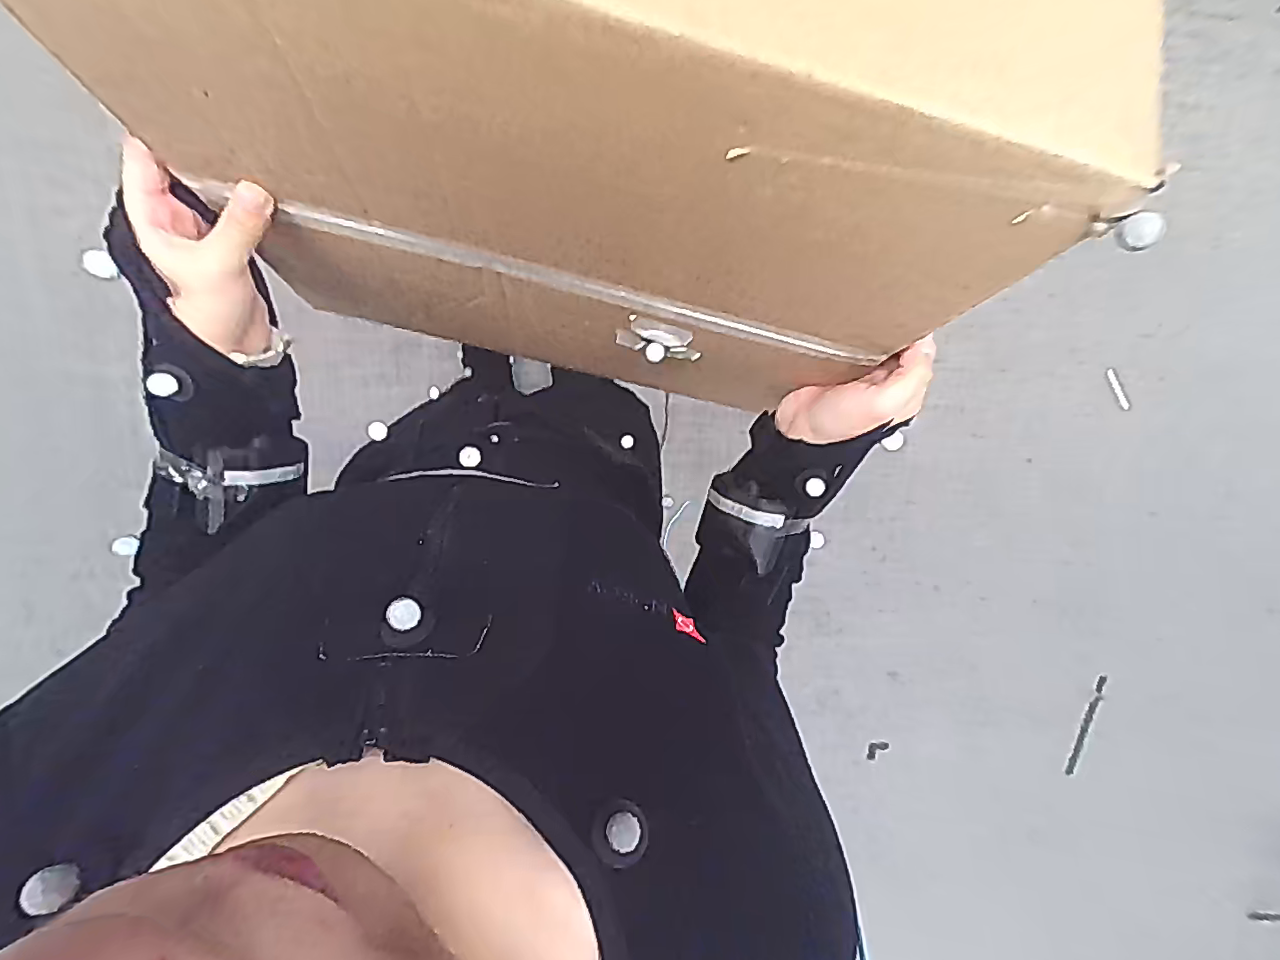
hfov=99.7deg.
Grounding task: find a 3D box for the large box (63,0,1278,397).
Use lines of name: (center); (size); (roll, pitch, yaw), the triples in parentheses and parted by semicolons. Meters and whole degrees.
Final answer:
large box: (-0.003, -0.275, 0.308); (0.408, 0.320, 0.320); (11, 82, -7)
